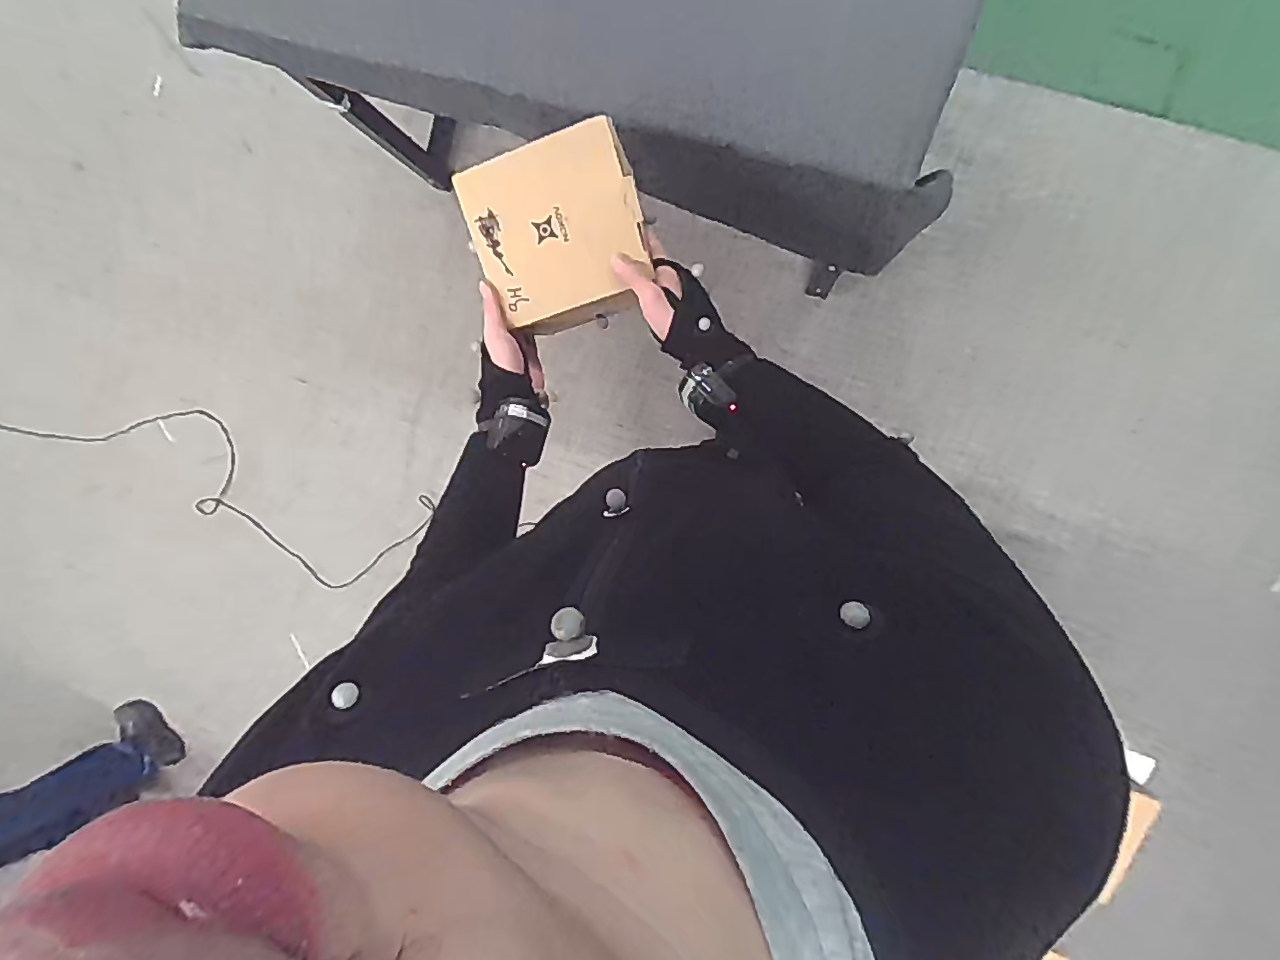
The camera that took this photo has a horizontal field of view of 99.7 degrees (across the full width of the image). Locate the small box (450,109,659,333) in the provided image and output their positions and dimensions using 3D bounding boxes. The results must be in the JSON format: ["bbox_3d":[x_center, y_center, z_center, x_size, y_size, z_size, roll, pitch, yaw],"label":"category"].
[{"bbox_3d":[-0.081,-0.275,0.619,0.179,0.176,0.168,-15,100,8],"label":"small box"}]
